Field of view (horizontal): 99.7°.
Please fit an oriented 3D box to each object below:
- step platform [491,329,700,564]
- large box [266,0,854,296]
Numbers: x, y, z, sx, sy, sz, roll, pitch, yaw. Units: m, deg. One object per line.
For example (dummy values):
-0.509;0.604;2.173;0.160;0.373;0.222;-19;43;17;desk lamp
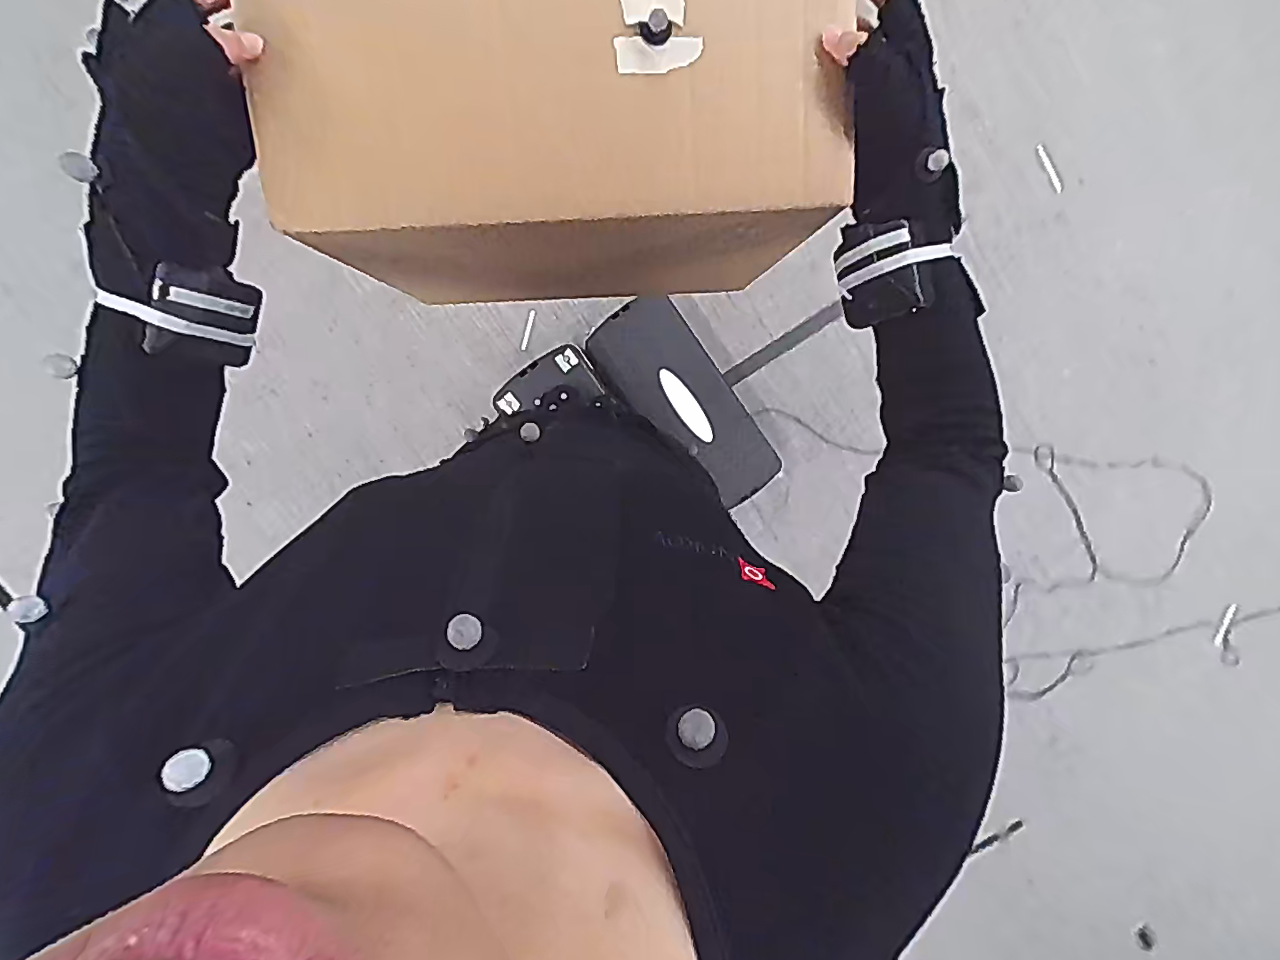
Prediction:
-0.120;-0.091;1.567;0.286;0.204;0.684;-37;97;3;step platform
-0.061;-0.370;0.510;0.408;0.320;0.320;-4;100;-3;large box
